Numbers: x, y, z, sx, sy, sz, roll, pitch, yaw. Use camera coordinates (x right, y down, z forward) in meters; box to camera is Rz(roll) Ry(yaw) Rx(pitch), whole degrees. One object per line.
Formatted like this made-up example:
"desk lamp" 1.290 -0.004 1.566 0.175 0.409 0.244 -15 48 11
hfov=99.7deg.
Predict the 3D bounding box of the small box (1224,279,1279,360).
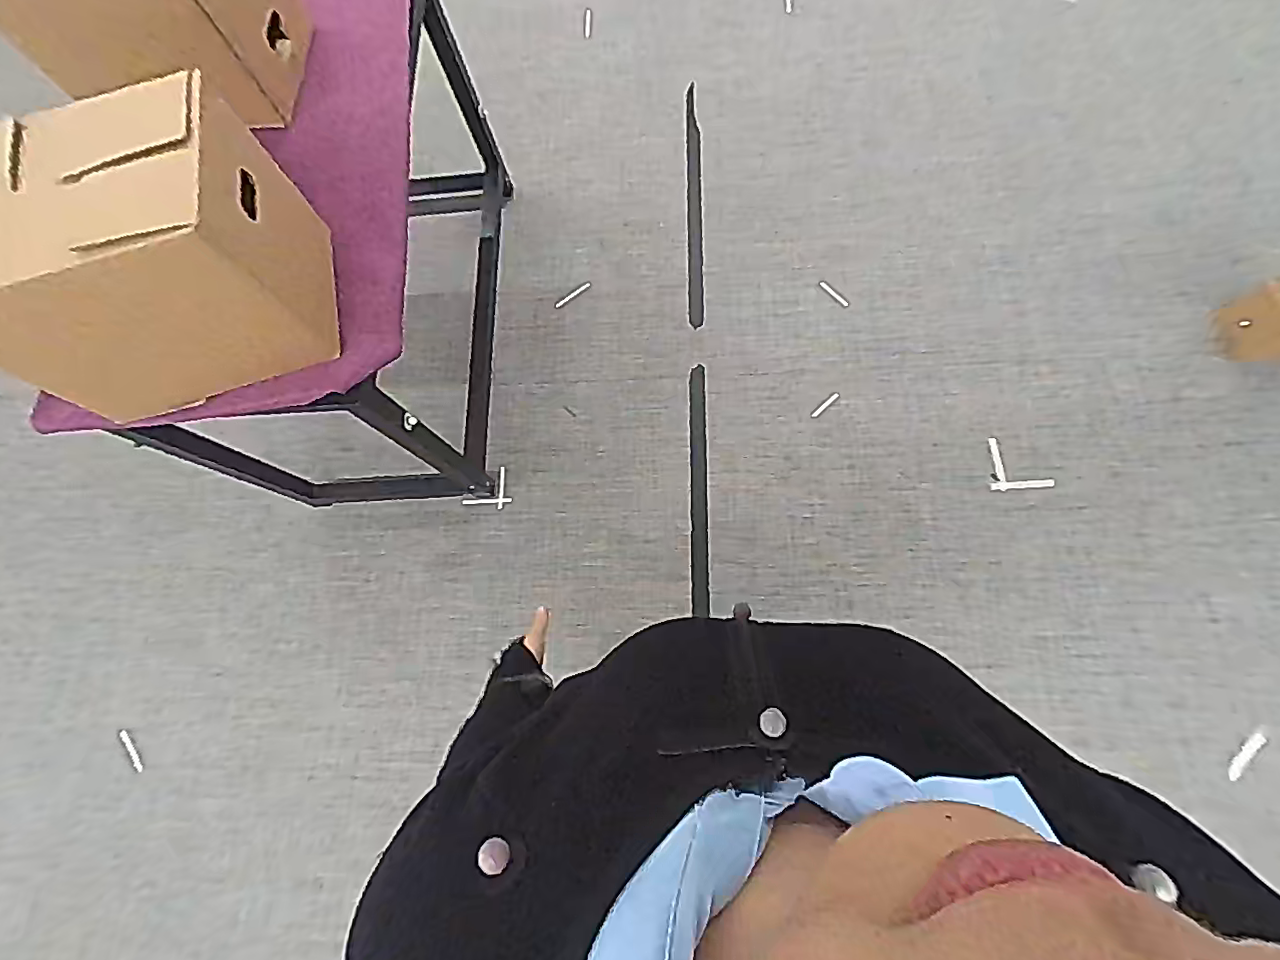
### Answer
"small box" 1.814 -0.449 1.518 0.179 0.176 0.168 -3 74 3
